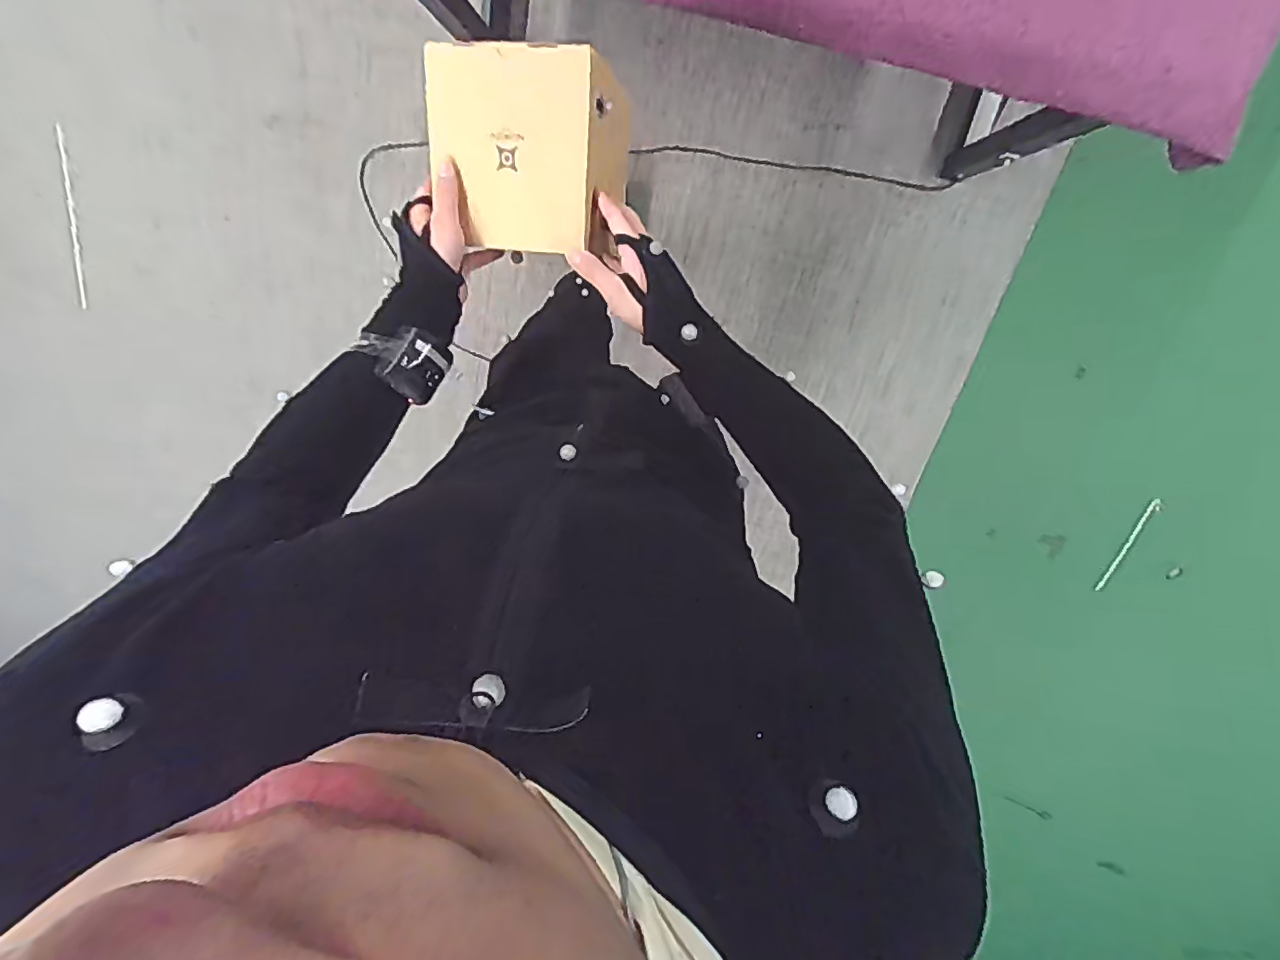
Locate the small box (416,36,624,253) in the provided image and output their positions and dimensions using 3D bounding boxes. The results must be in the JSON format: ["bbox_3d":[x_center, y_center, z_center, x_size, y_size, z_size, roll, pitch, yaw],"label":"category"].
[{"bbox_3d":[-0.117,-0.348,0.590,0.168,0.176,0.179,8,113,9],"label":"small box"}]
